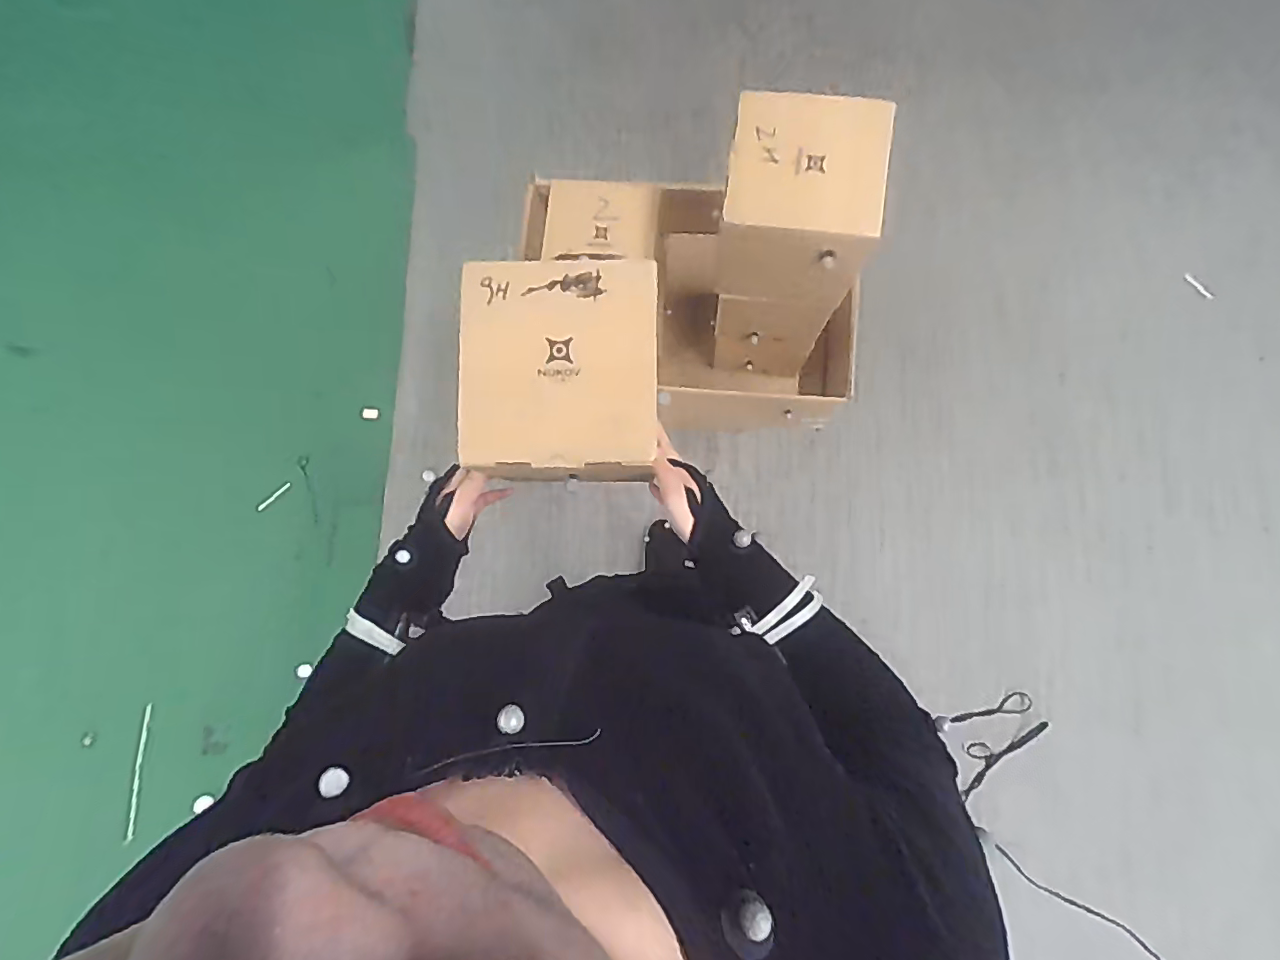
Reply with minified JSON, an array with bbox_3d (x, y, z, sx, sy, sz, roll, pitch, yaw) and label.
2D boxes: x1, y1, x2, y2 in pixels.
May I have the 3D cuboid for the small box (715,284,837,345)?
[{"bbox_3d":[0.209,-0.330,0.838,0.168,0.176,0.179,8,84,7],"label":"small box"}]

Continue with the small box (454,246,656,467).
[{"bbox_3d":[-0.069,-0.105,0.527,0.168,0.176,0.179,0,87,1],"label":"small box"}]

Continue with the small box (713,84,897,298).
[{"bbox_3d":[0.192,-0.346,0.675,0.179,0.176,0.168,9,83,7],"label":"small box"}]
